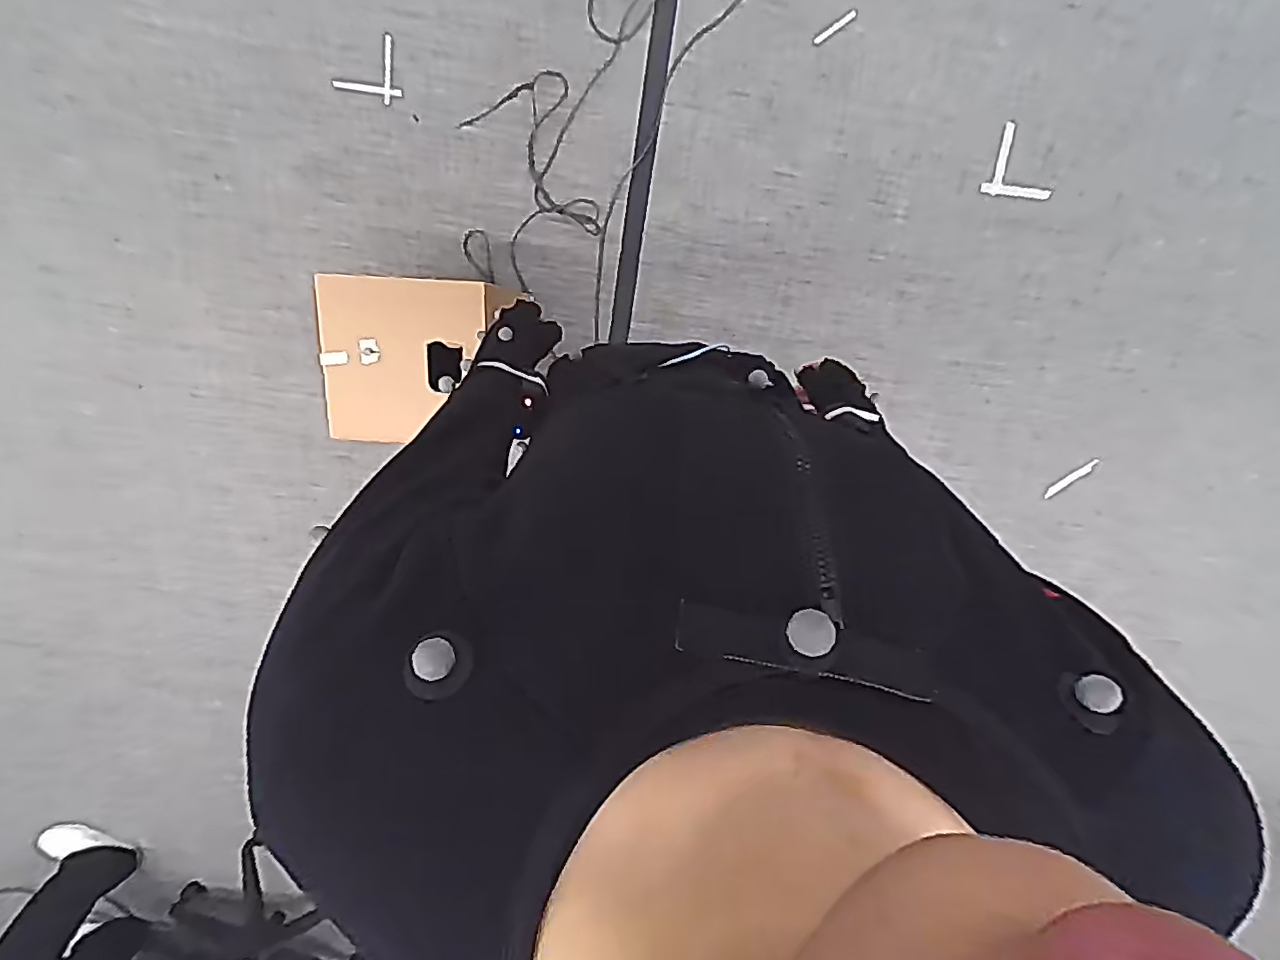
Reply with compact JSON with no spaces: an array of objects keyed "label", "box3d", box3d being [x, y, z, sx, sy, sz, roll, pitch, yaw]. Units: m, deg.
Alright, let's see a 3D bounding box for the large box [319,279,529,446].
[{"label":"large box","box3d":[-0.447,-0.276,1.217,0.320,0.408,0.320,4,106,-1]}]
